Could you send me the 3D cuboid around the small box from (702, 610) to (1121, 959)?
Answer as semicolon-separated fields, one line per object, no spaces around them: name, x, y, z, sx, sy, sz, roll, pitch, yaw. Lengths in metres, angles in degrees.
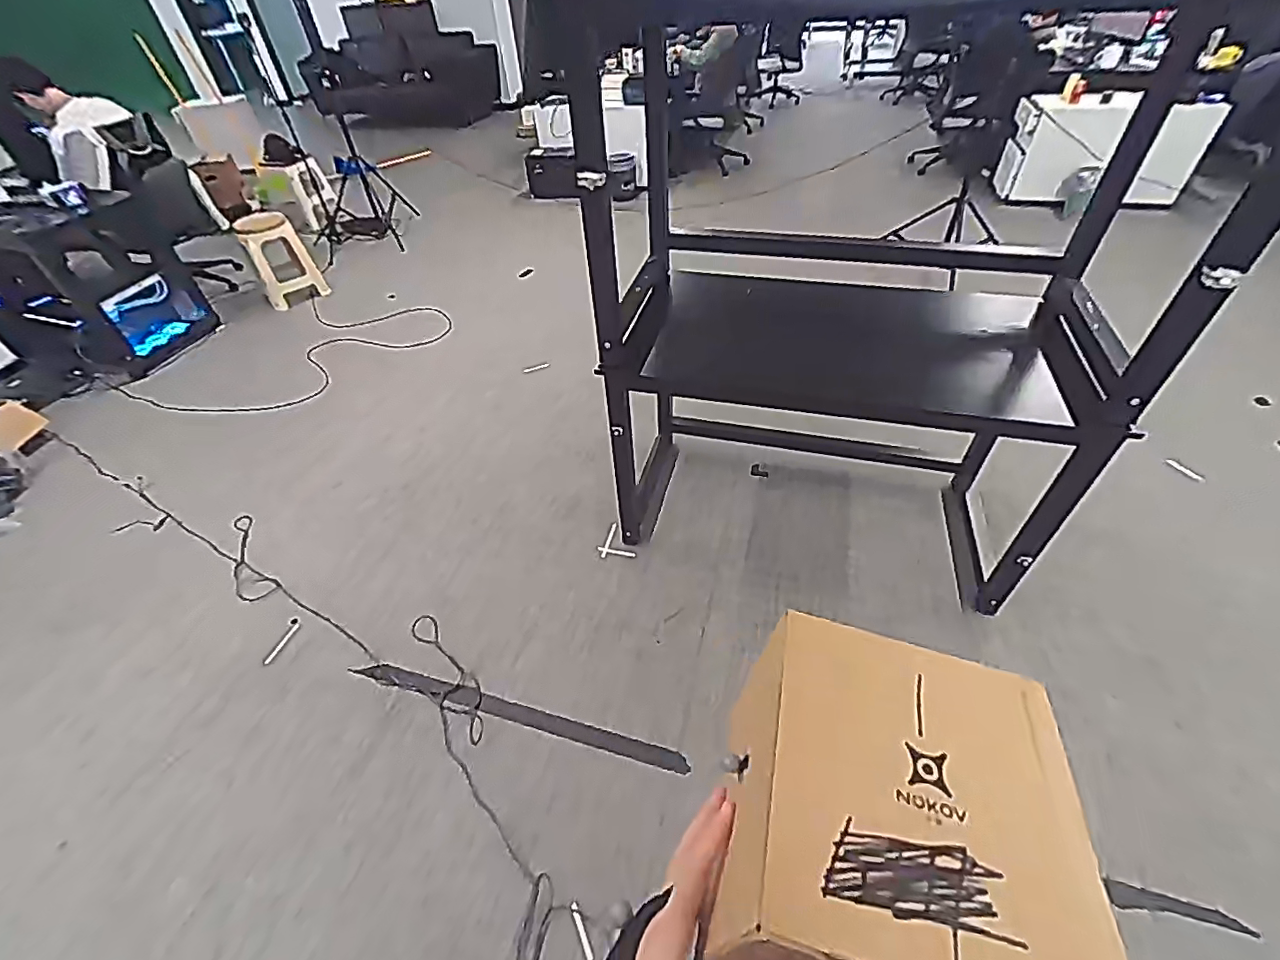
small box;0.142;0.220;0.343;0.168;0.176;0.179;15;43;7
